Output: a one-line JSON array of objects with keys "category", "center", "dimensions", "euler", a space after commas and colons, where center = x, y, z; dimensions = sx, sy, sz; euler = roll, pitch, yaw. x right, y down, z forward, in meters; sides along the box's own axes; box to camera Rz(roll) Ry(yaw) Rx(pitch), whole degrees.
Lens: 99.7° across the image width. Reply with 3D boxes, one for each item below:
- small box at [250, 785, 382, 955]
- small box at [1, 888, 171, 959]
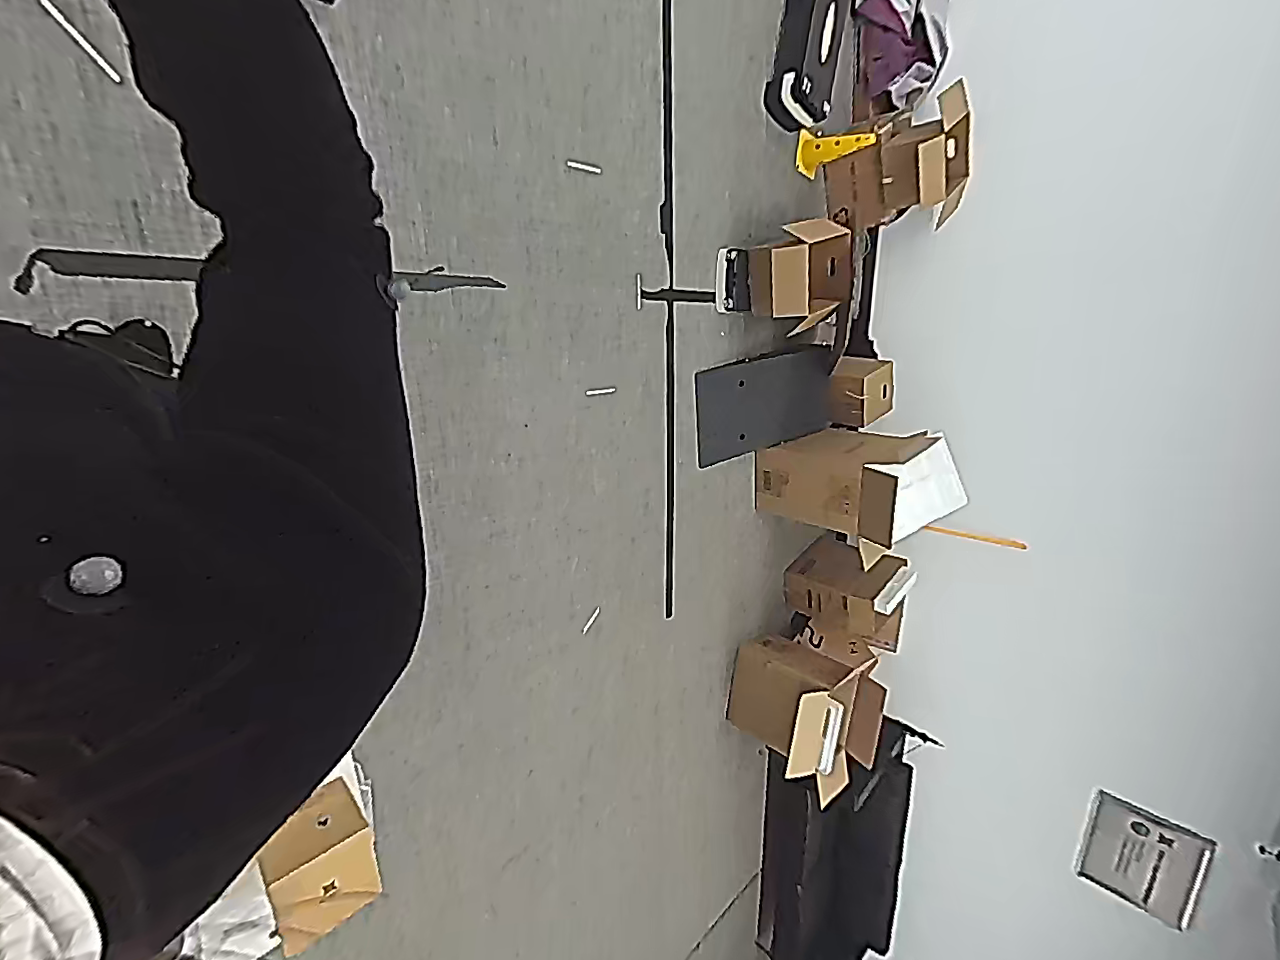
[{"category": "small box", "center": [-0.621, 0.726, 1.036], "dimensions": [0.168, 0.176, 0.179], "euler": [-17, 114, -42]}, {"category": "small box", "center": [-0.835, 0.785, 0.822], "dimensions": [0.168, 0.176, 0.179], "euler": [-22, 117, -43]}]
